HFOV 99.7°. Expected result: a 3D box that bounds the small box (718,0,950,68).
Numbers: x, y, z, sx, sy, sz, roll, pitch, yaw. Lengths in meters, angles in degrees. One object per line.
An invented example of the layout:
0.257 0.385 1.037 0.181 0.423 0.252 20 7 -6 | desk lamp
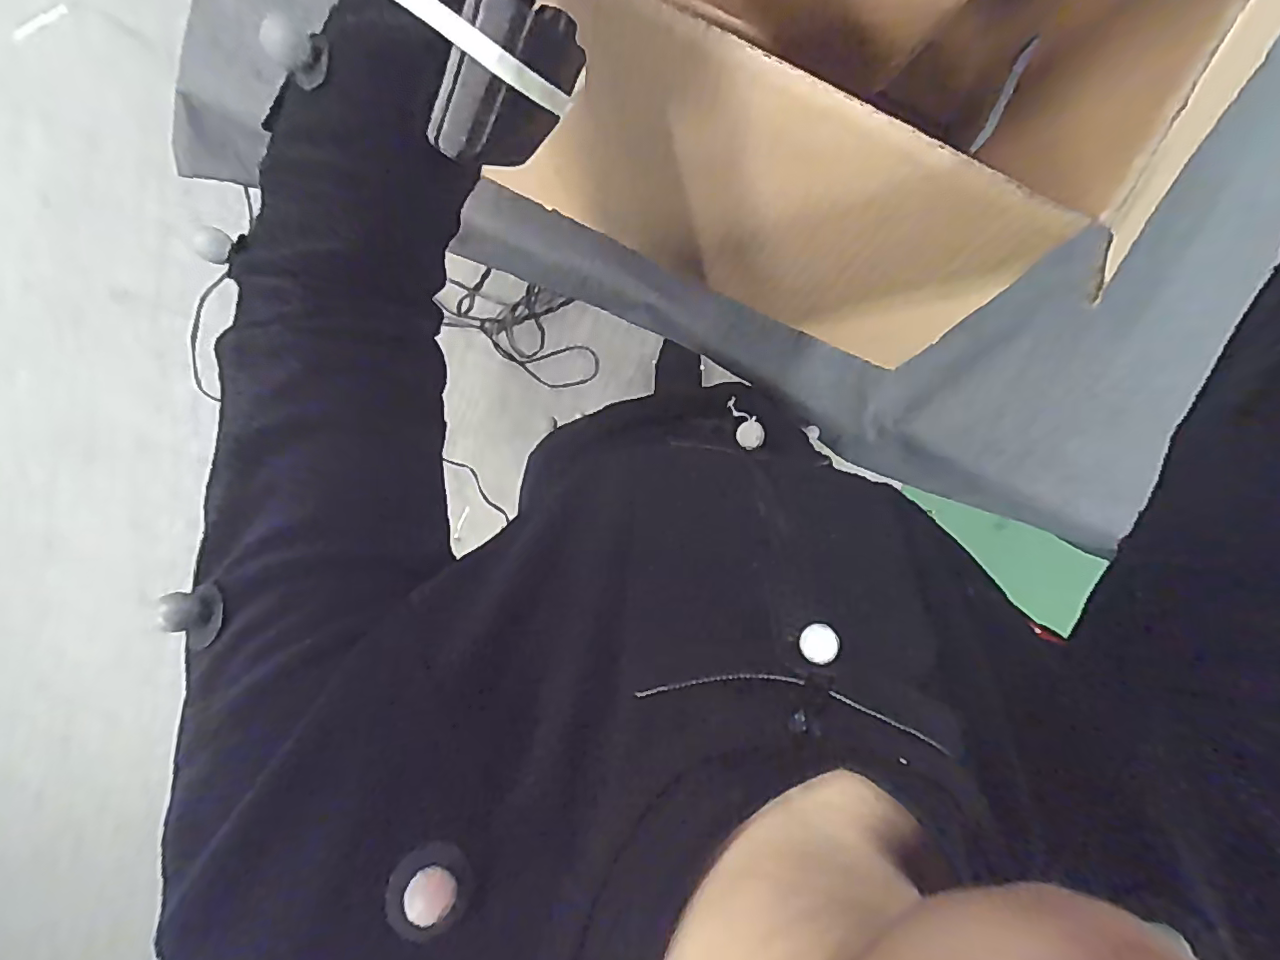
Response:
0.117 -0.351 0.265 0.179 0.176 0.168 24 104 -5 | small box
